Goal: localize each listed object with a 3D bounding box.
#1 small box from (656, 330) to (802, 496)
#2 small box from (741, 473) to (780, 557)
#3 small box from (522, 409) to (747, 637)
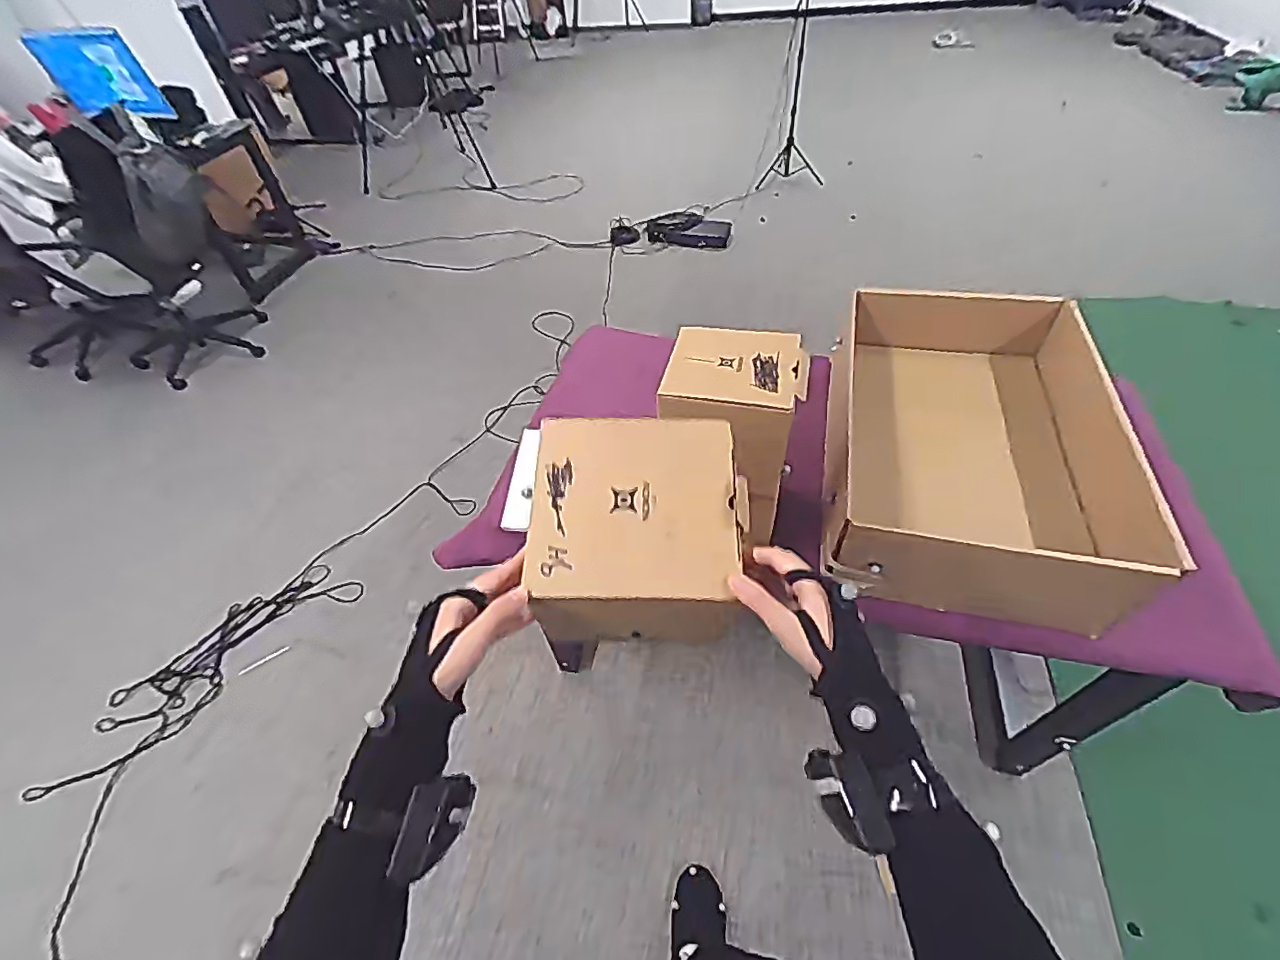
[{"bbox_3d":[0.129,-0.096,0.792,0.179,0.176,0.168,9,48,13],"label":"small box"},{"bbox_3d":[0.148,0.008,0.918,0.168,0.176,0.179,9,48,12],"label":"small box"},{"bbox_3d":[-0.003,0.049,0.521,0.179,0.176,0.168,2,61,0],"label":"small box"}]
